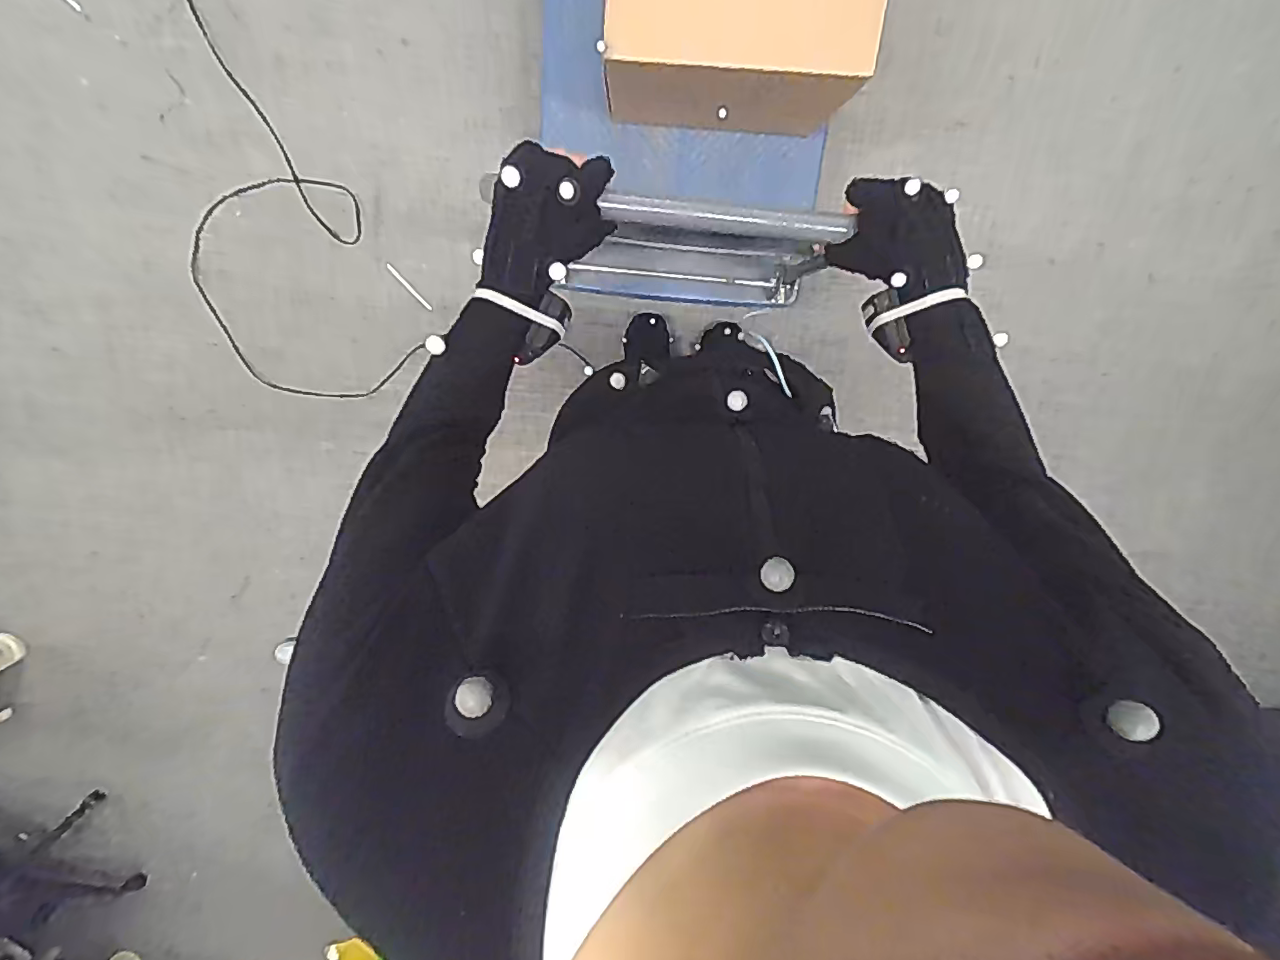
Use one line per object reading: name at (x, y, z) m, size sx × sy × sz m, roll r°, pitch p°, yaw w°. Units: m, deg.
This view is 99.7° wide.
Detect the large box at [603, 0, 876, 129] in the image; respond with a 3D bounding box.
large box at (0.153, -0.810, 0.905) m, size 0.408 × 0.320 × 0.320 m, roll 3°, pitch 108°, yaw 0°
